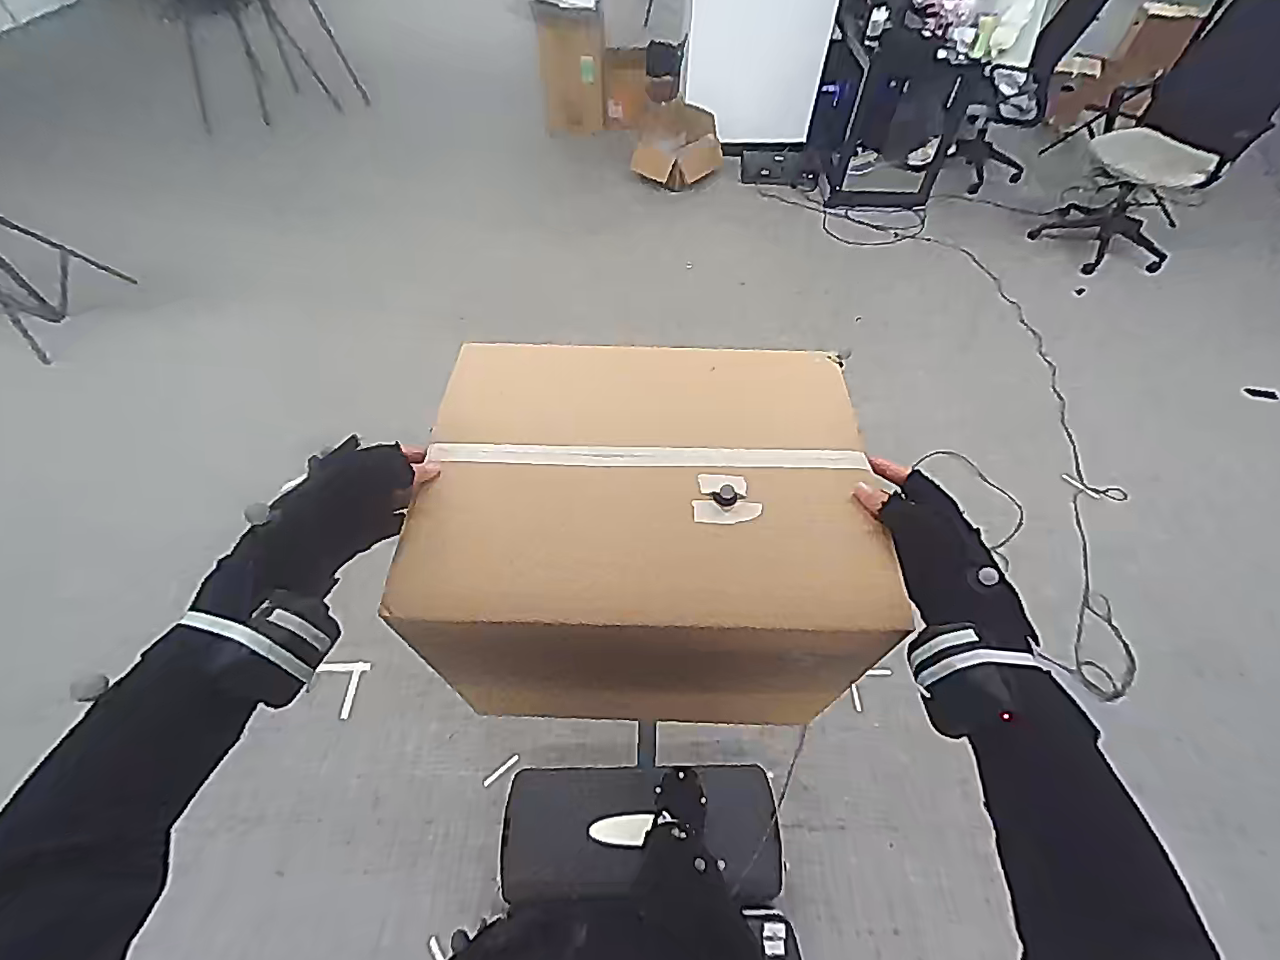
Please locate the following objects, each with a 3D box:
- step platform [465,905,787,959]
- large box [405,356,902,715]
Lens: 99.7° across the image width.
[{"bbox_3d":[-0.028,1.073,1.120,0.684,0.204,0.286,-1,53,0],"label":"step platform"},{"bbox_3d":[0.008,0.075,0.632,0.408,0.320,0.320,2,54,0],"label":"large box"}]
